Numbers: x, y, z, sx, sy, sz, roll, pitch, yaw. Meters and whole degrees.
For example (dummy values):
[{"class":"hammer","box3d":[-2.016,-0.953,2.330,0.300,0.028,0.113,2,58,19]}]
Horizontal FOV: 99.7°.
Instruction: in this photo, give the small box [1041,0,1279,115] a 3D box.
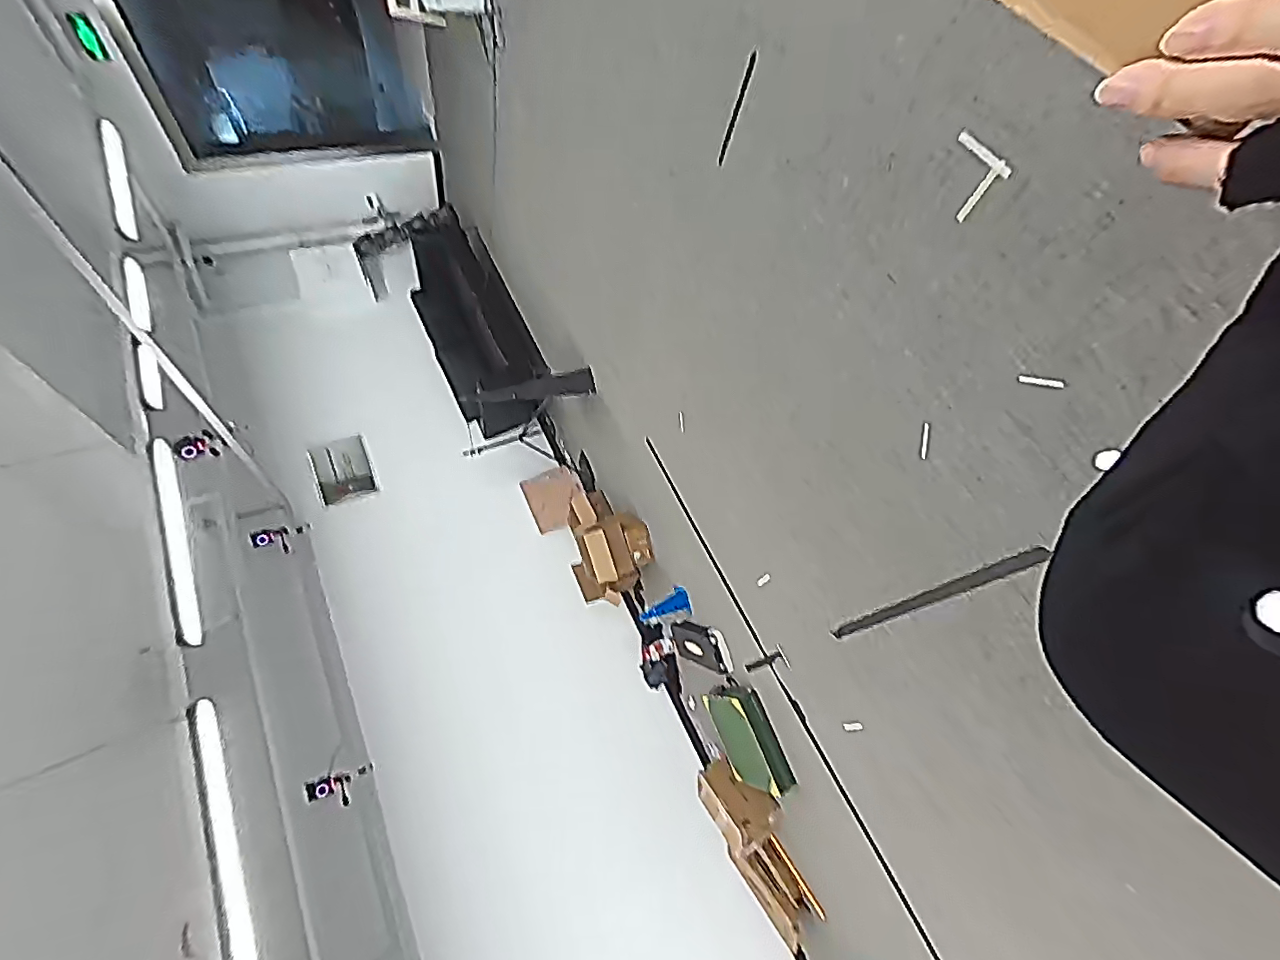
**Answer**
[{"class":"small box","box3d":[0.217,-0.252,0.147,0.176,0.179,0.168,51,176,16]}]
